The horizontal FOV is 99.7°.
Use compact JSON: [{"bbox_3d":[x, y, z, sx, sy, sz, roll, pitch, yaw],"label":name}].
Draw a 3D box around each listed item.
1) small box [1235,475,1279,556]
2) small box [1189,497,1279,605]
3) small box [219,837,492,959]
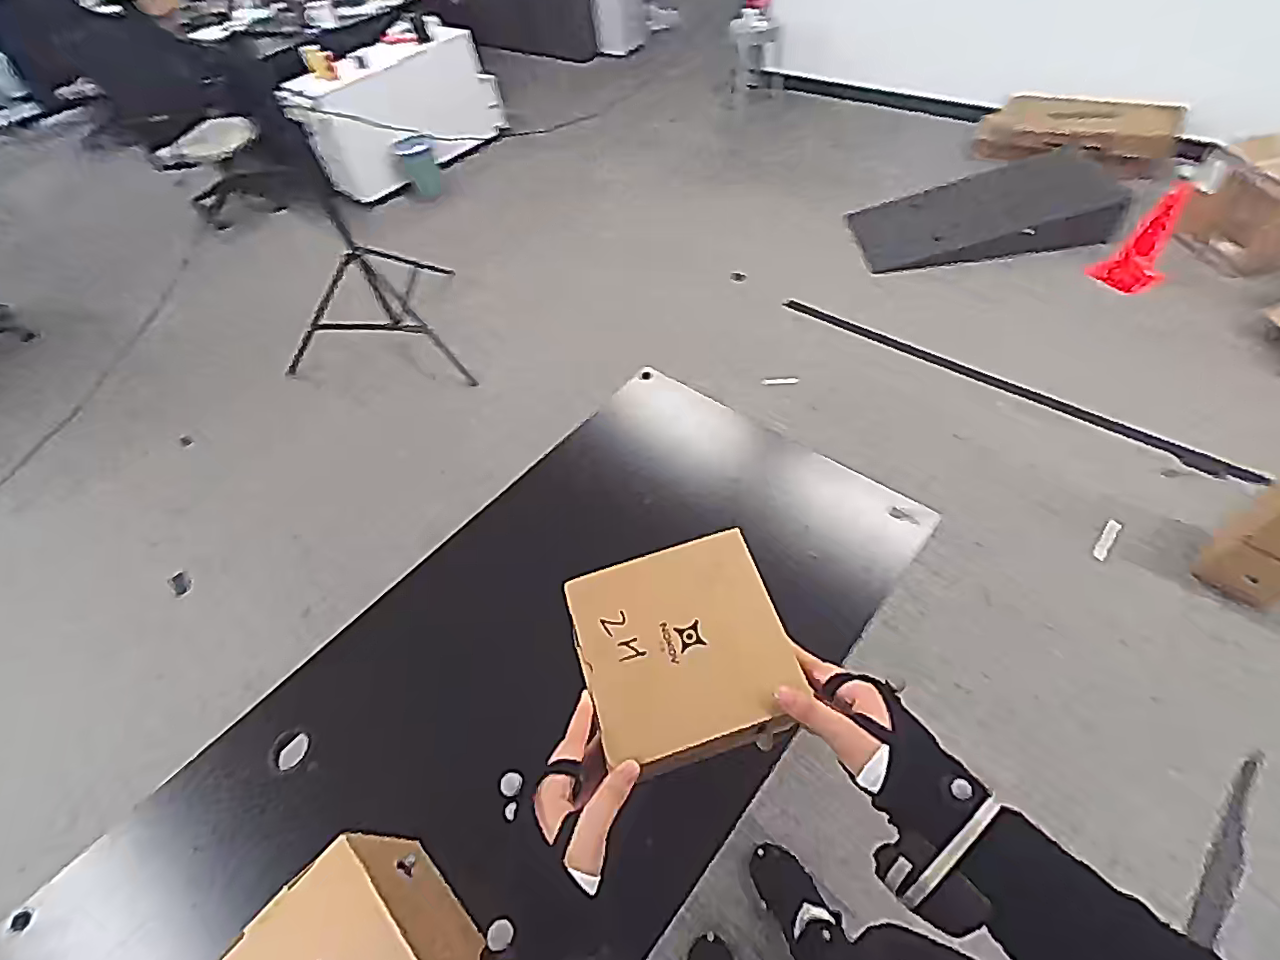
[{"bbox_3d":[1.548,0.083,1.240,0.179,0.176,0.168,36,66,28],"label":"small box"},{"bbox_3d":[1.561,0.184,1.371,0.168,0.176,0.179,36,67,29],"label":"small box"},{"bbox_3d":[-0.269,0.483,0.512,0.179,0.176,0.168,33,65,28],"label":"small box"}]
